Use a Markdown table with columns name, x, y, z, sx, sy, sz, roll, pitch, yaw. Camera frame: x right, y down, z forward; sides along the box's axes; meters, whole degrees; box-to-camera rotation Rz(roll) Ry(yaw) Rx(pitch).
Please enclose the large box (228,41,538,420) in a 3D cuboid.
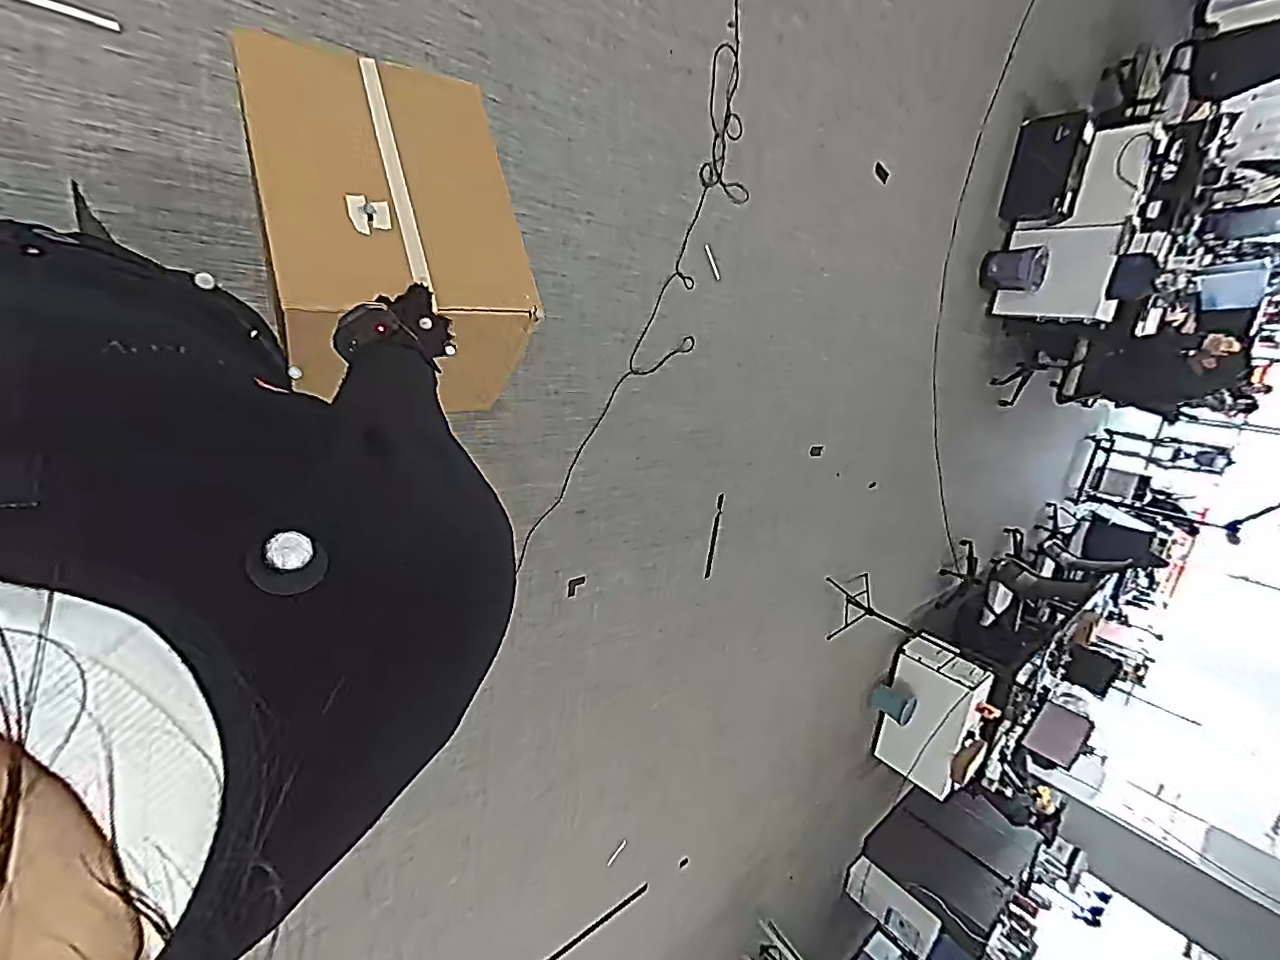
| name | x | y | z | sx | sy | sz | roll | pitch | yaw |
| --- | --- | --- | --- | --- | --- | --- | --- | --- | --- |
| large box | -0.402 | -0.346 | 0.847 | 0.320 | 0.320 | 0.408 | -11 | 78 | -32 |
